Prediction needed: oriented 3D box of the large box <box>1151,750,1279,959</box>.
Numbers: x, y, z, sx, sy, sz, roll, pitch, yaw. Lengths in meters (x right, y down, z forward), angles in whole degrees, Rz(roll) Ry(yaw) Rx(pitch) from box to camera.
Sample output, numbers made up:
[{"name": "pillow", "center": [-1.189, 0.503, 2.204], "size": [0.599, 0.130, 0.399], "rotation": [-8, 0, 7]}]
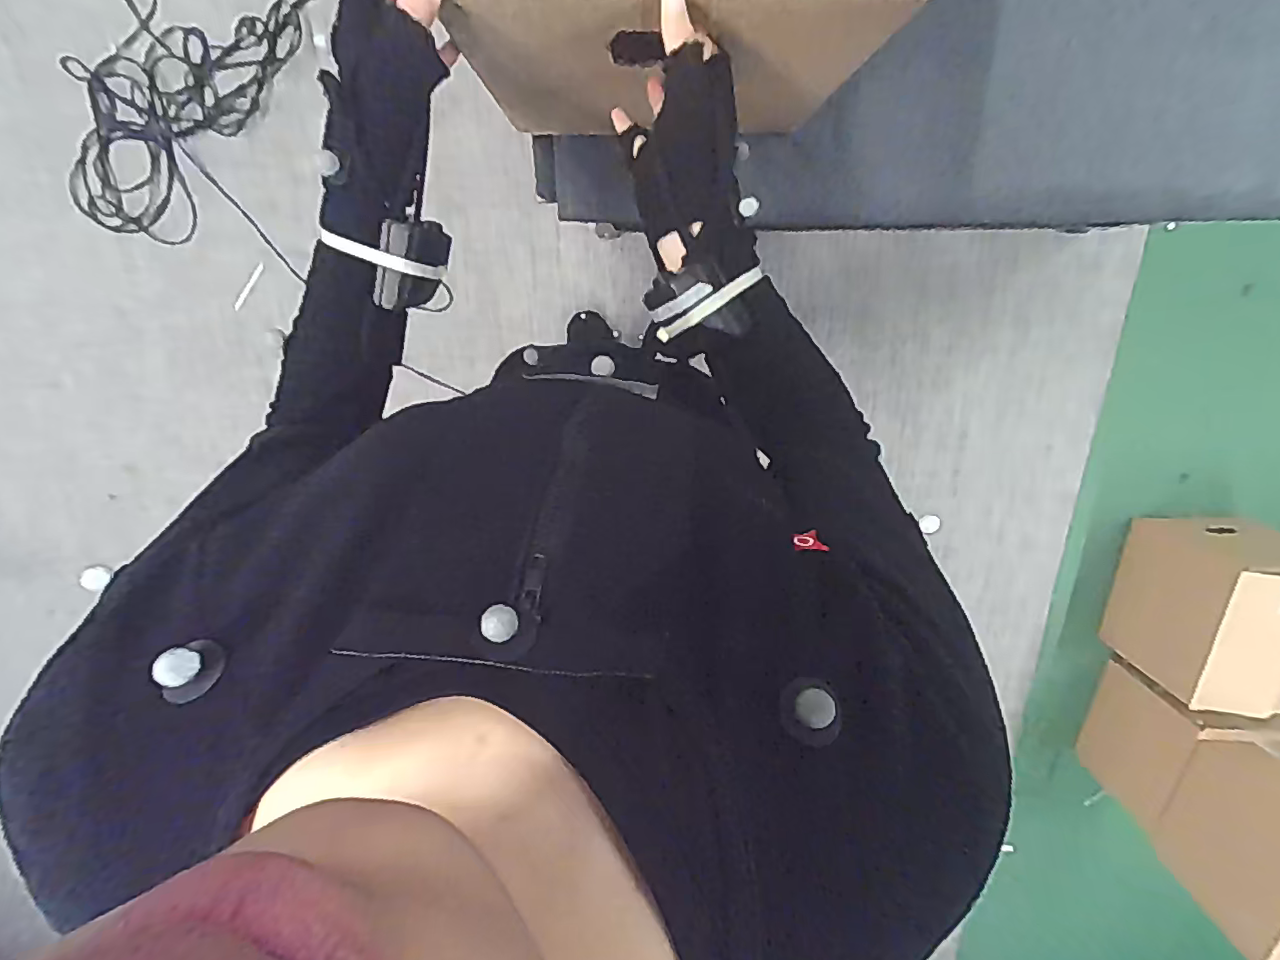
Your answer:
[{"name": "large box", "center": [1.603, 0.939, 1.337], "size": [0.320, 0.320, 0.408], "rotation": [2, 110, 2]}]
